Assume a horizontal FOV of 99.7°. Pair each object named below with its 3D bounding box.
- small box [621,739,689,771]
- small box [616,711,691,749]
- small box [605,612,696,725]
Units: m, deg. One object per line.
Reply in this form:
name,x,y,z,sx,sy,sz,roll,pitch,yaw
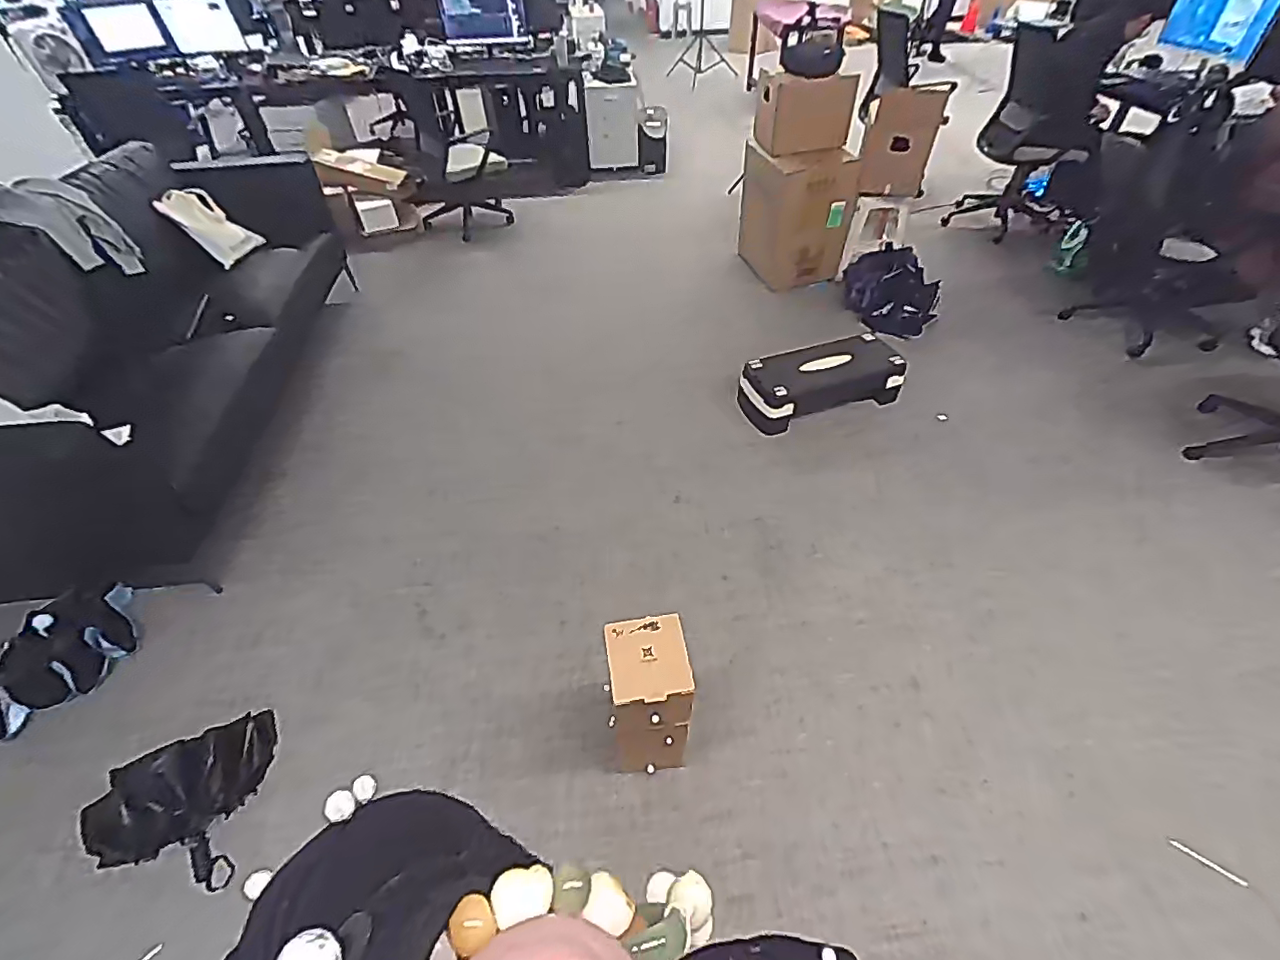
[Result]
small box,0.030,0.631,1.405,0.168,0.176,0.179,-7,48,-3
small box,0.025,0.522,1.286,0.168,0.176,0.179,-6,46,-5
small box,0.021,0.411,1.166,0.168,0.176,0.179,-8,49,-5
